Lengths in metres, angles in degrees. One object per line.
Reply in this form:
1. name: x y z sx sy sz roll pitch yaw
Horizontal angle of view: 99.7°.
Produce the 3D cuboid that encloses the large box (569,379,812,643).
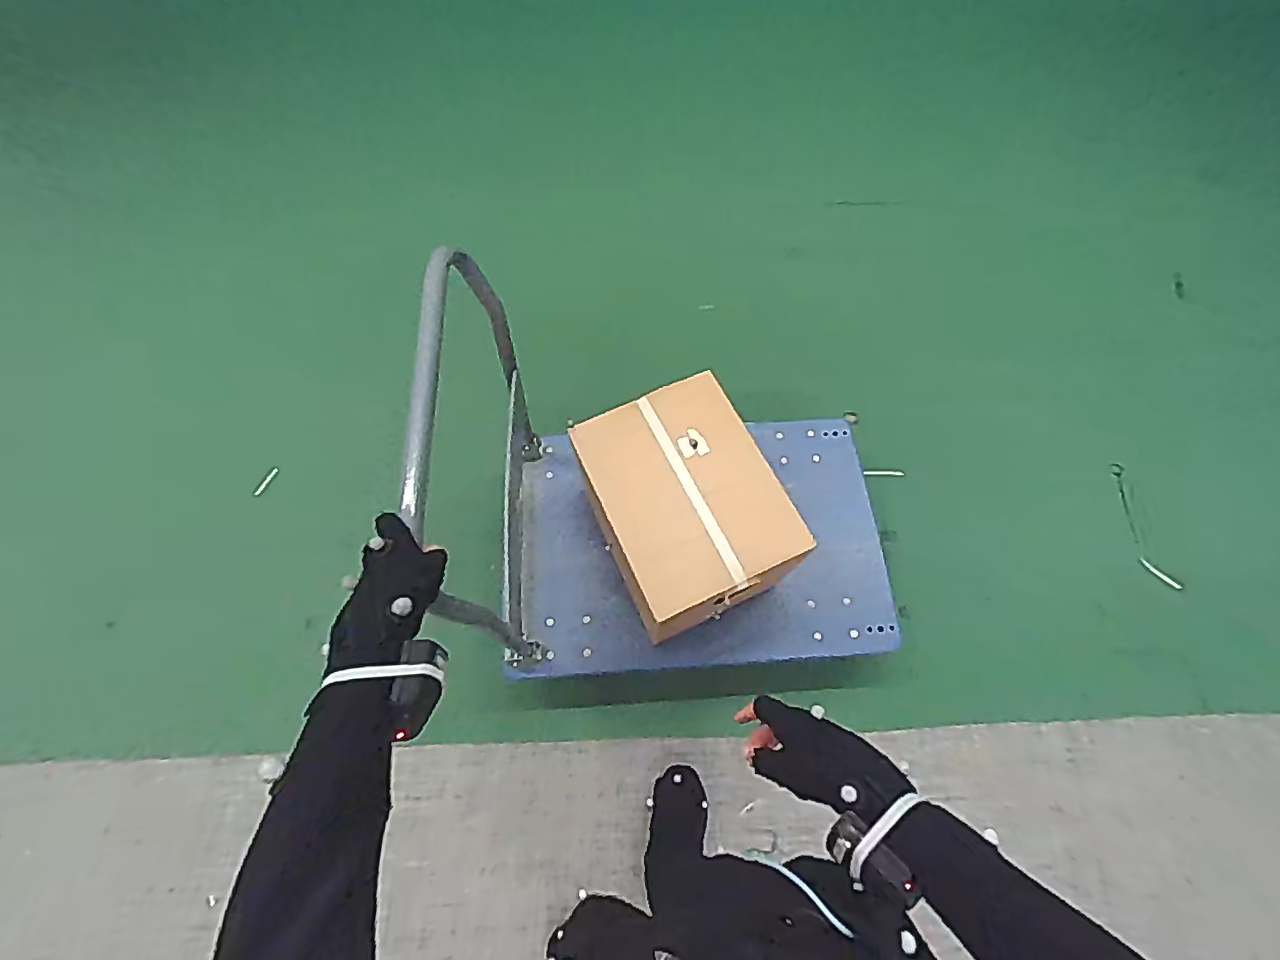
1. large box: 0.090 0.076 1.135 0.320 0.320 0.408 -24 68 -9
